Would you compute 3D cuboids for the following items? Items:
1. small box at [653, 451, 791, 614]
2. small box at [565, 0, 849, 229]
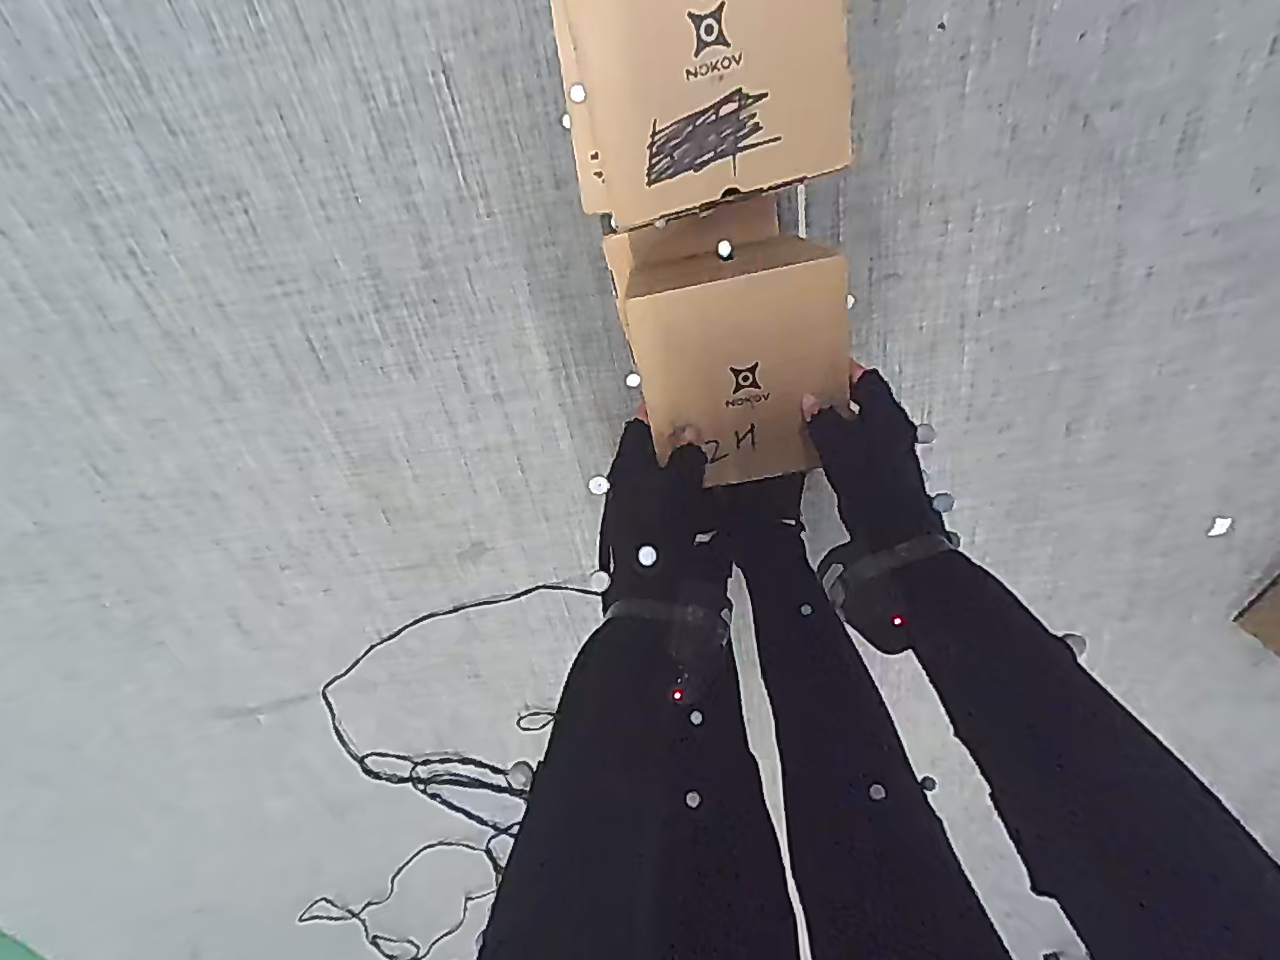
[{"bbox_3d":[0.116,0.077,0.834,0.168,0.176,0.179,-8,122,-6],"label":"small box"},{"bbox_3d":[0.046,-0.305,0.405,0.168,0.176,0.179,-11,116,7],"label":"small box"}]
